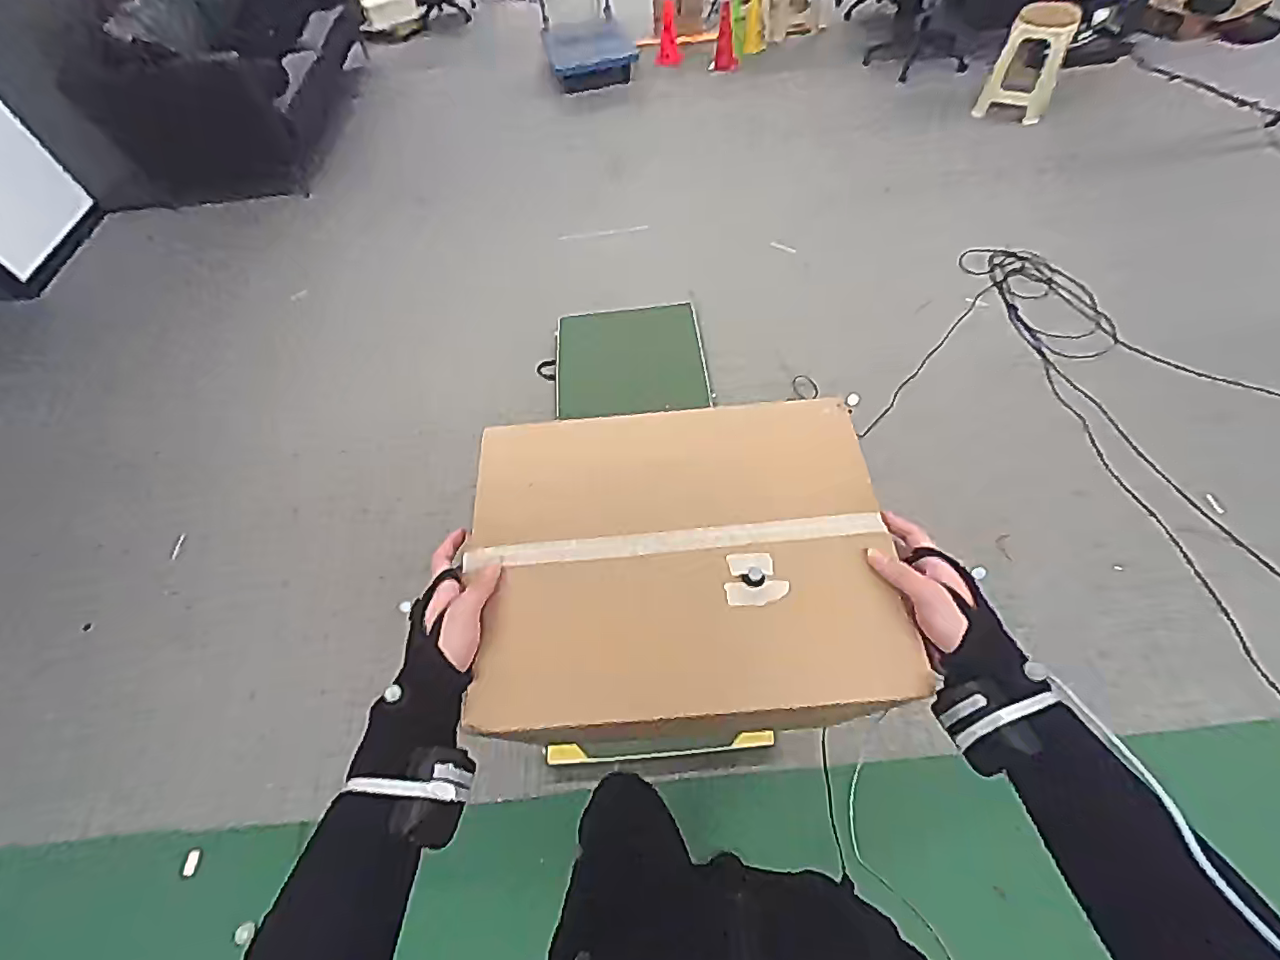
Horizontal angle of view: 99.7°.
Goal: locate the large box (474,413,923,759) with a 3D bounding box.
[{"bbox_3d":[0.043,0.148,0.669,0.408,0.320,0.320,-5,62,0],"label":"large box"}]
